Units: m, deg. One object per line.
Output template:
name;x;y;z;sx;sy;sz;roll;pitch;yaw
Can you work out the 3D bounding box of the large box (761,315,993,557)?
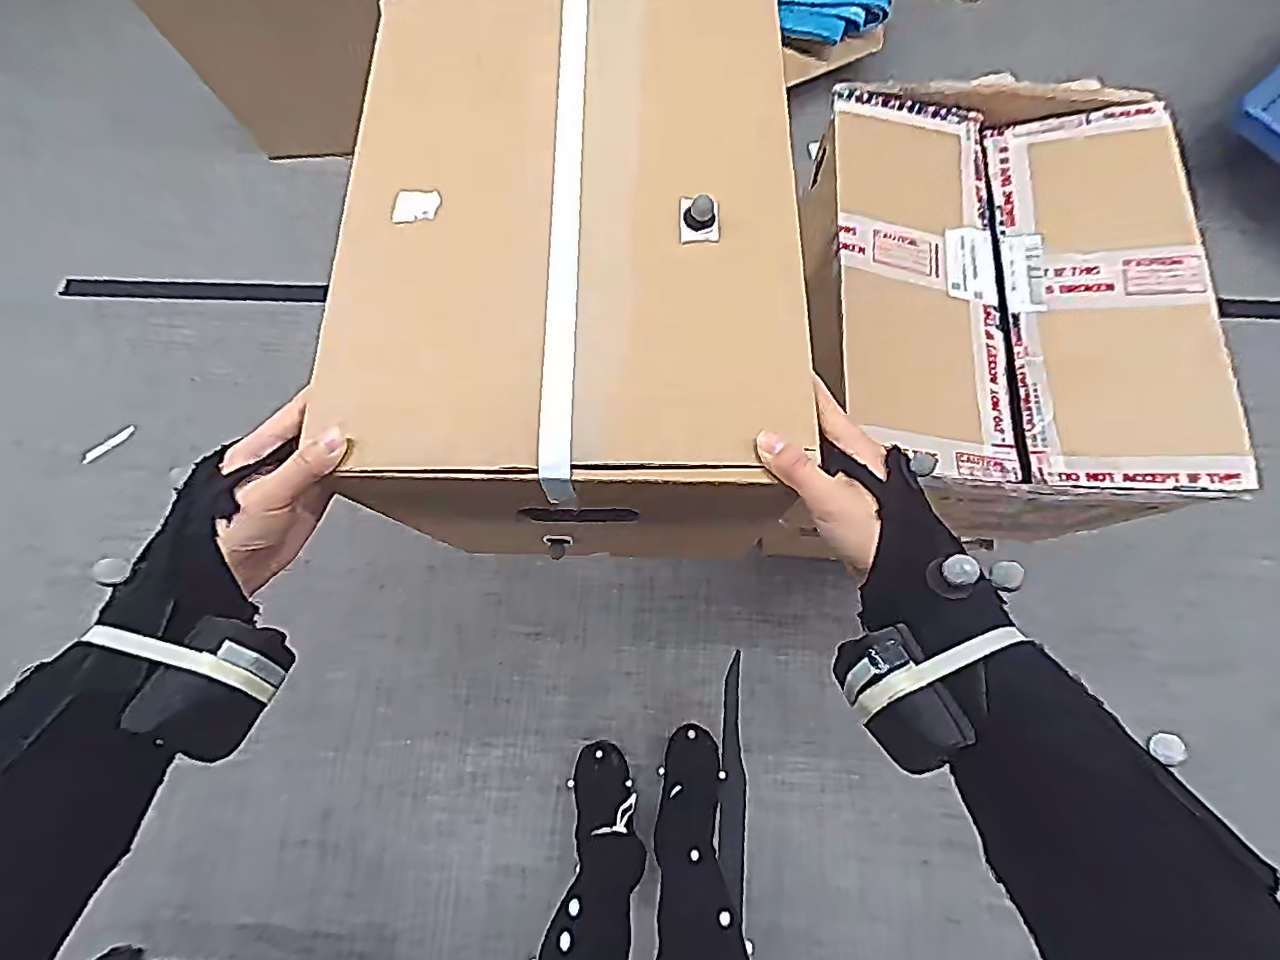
large box;0.424;-0.066;1.061;0.320;0.320;0.408;2;77;3
